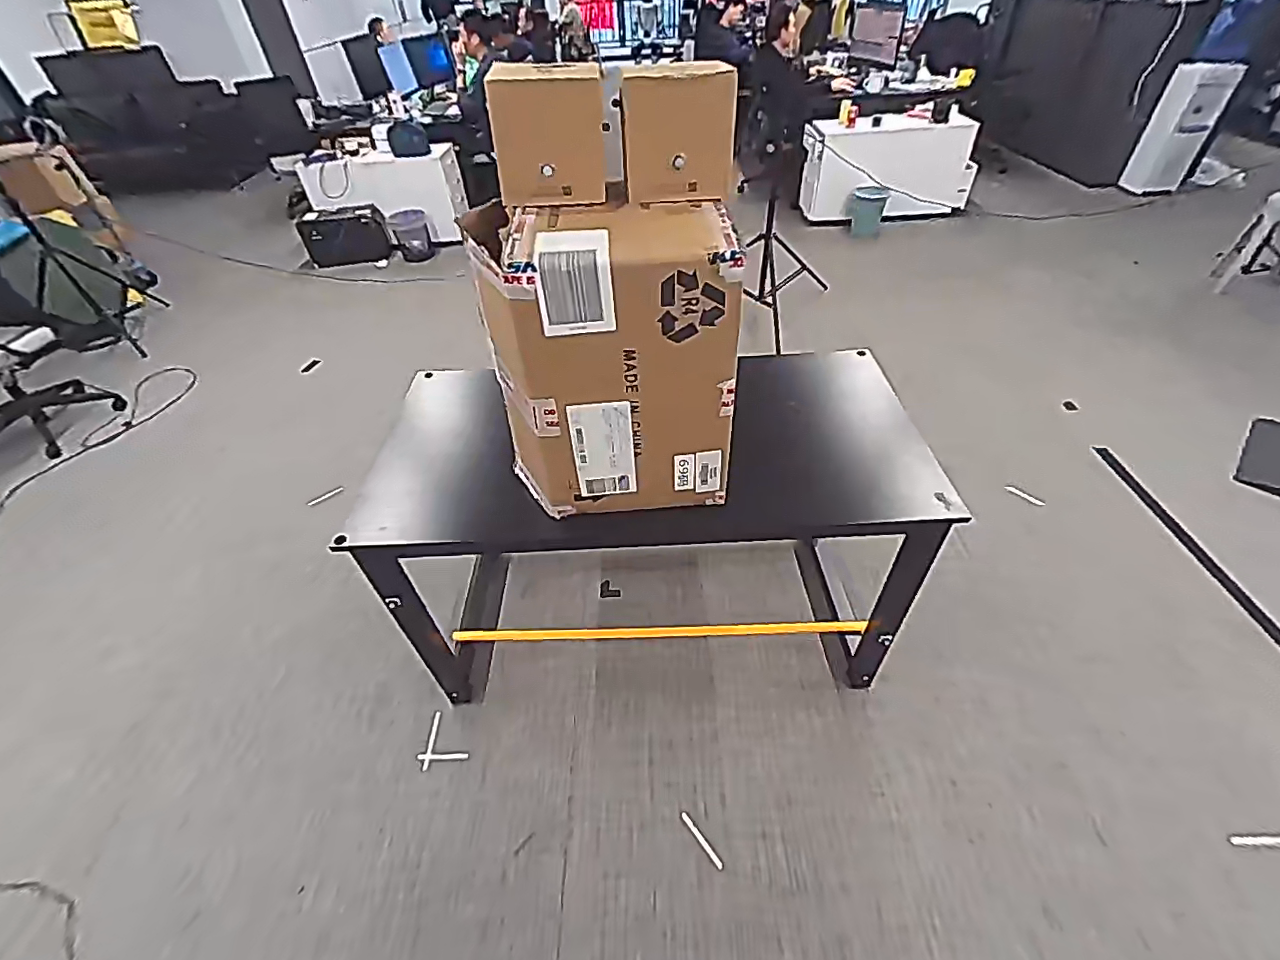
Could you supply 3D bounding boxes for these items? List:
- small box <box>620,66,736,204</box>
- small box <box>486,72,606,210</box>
[{"bbox_3d":[0.054,-0.563,0.884,0.168,0.176,0.179,-5,42,-1],"label":"small box"},{"bbox_3d":[-0.144,-0.552,0.878,0.168,0.176,0.179,-4,42,-4],"label":"small box"}]
